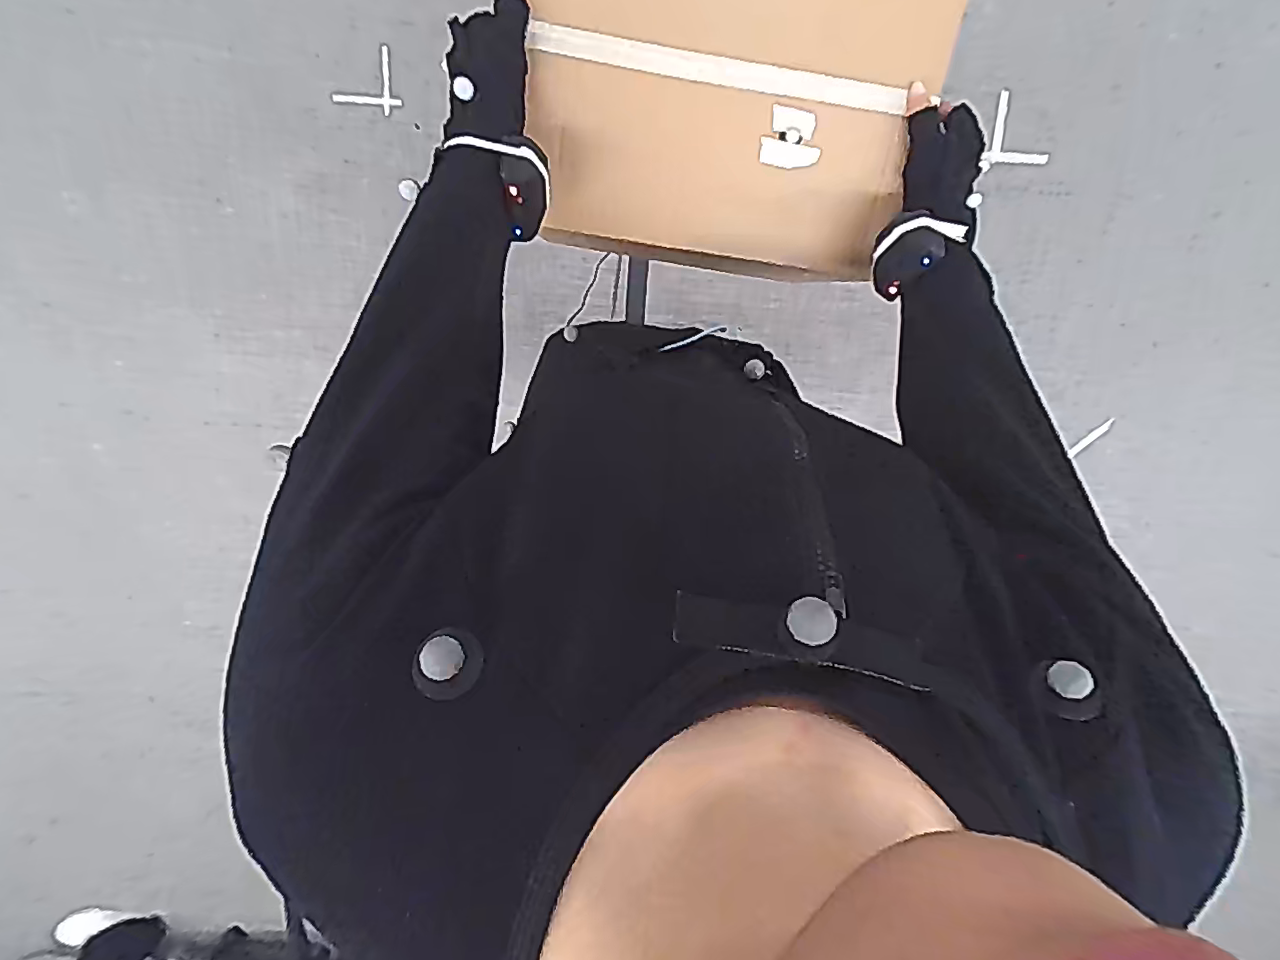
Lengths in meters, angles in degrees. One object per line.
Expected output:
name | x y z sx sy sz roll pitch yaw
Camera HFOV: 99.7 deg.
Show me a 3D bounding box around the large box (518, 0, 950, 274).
large box | 0.077 -0.440 0.664 0.408 0.320 0.320 6 111 -5
